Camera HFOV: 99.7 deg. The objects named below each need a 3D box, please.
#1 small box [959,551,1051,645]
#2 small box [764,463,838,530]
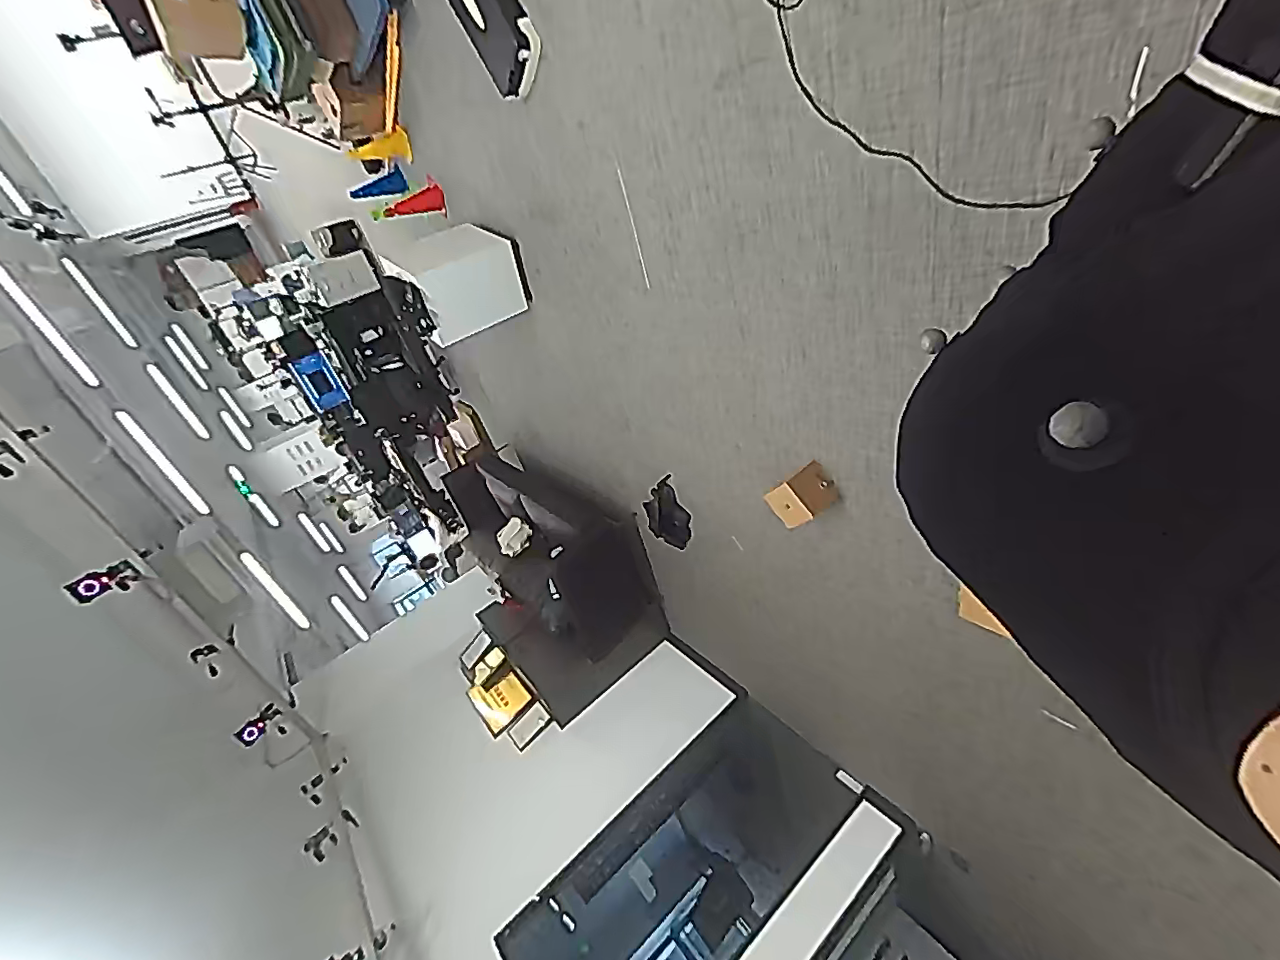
[{"bbox_3d":[1.060,0.334,1.572,0.179,0.176,0.168,24,141,50],"label":"small box"},{"bbox_3d":[0.615,0.063,2.063,0.168,0.176,0.179,52,155,7],"label":"small box"}]
